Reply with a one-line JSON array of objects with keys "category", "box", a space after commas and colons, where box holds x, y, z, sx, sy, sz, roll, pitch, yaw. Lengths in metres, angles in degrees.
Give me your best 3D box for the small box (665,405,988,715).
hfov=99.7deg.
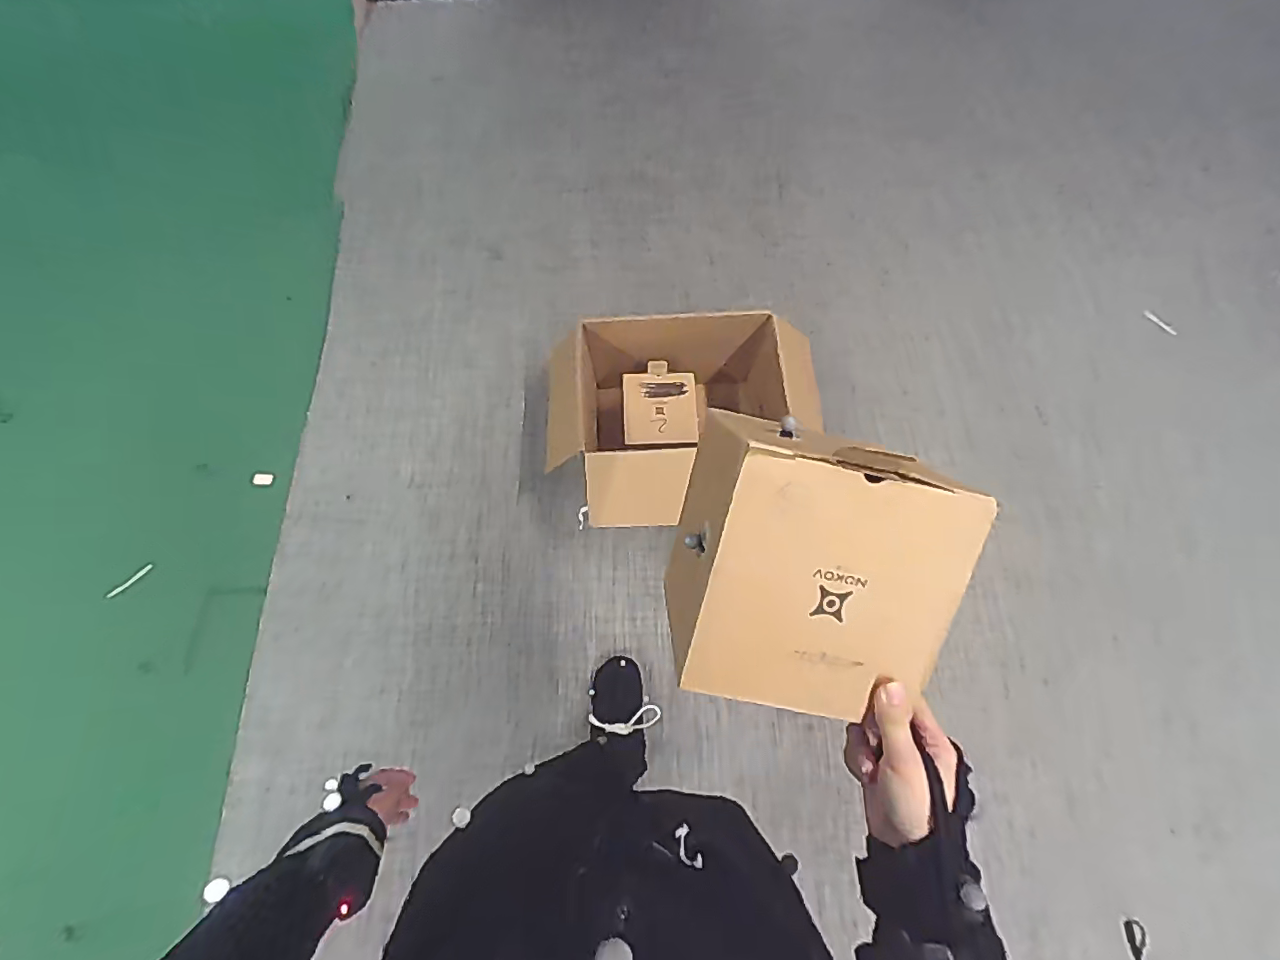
[{"category": "small box", "box": [0.119, 0.046, 0.427, 0.168, 0.176, 0.179, 13, 104, -4]}]
